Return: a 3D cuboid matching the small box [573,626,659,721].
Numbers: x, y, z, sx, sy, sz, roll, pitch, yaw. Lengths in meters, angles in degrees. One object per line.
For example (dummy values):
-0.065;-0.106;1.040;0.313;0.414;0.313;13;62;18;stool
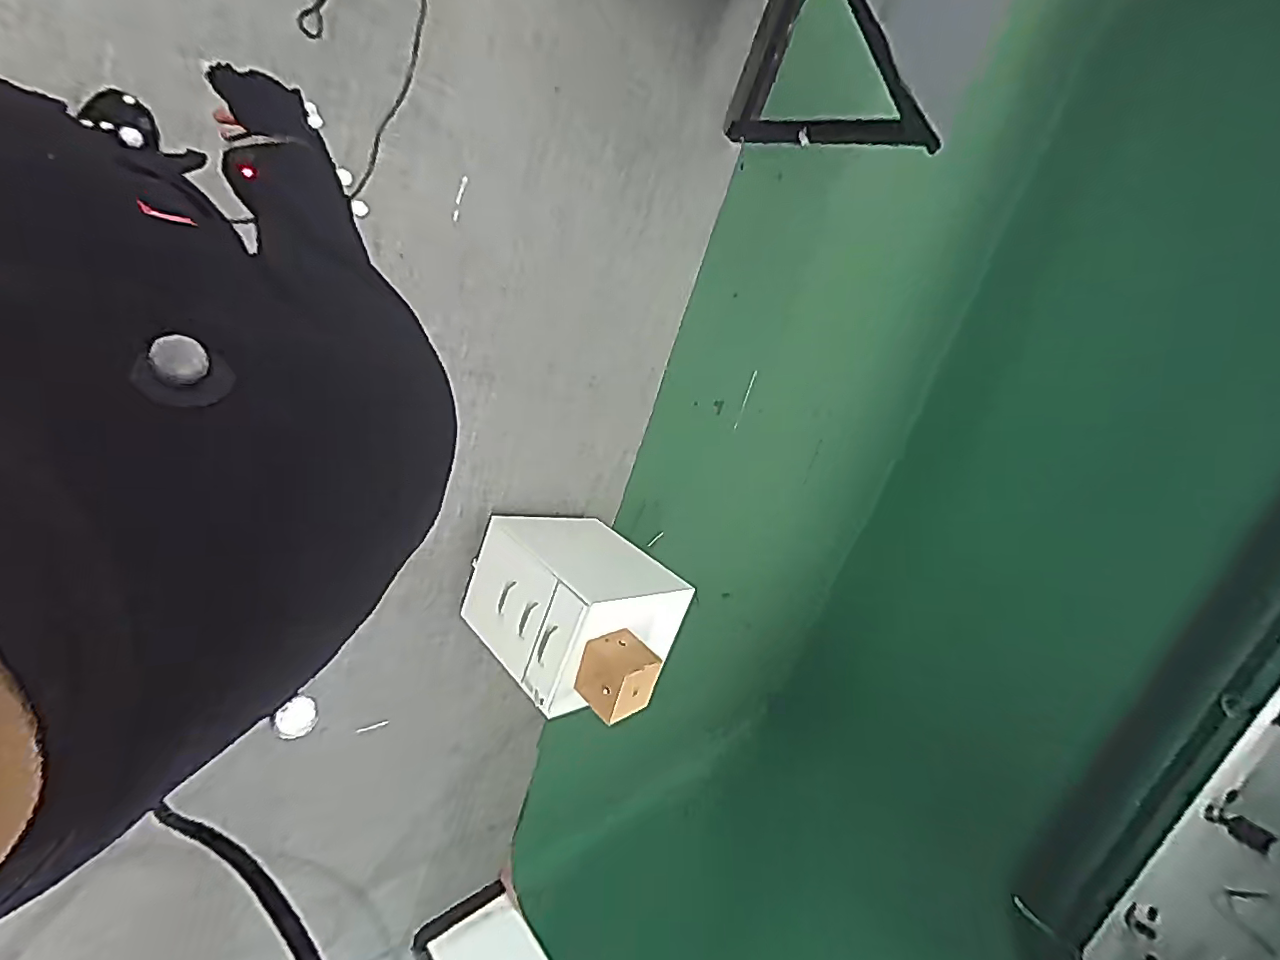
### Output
-0.077;0.563;1.595;0.168;0.176;0.179;-3;116;-47;small box
